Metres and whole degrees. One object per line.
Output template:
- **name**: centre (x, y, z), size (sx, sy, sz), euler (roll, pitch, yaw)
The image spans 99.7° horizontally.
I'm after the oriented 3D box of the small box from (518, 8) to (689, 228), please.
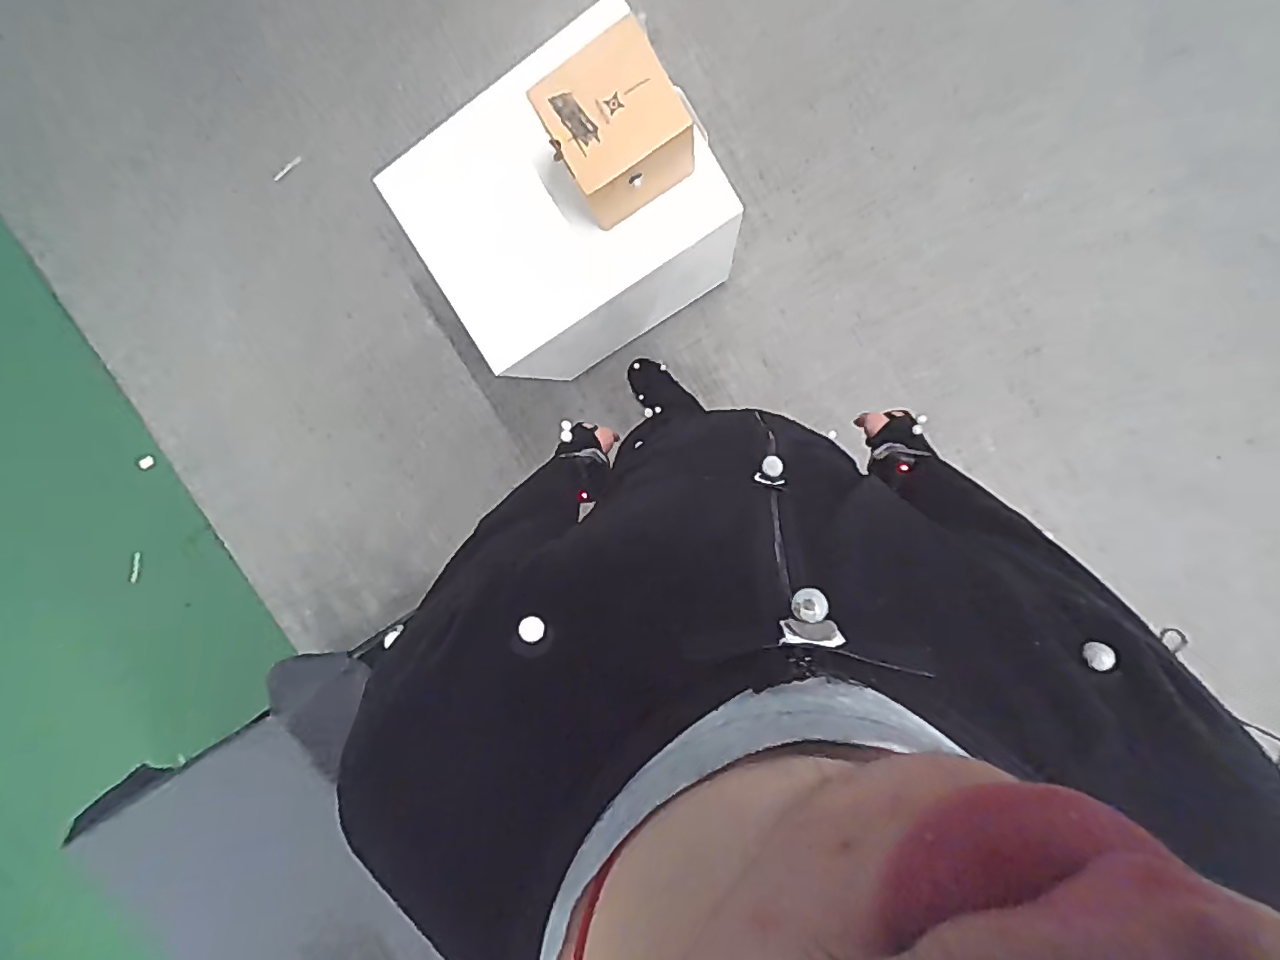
- **small box**: centre (-0.042, -0.503, 0.785), size (0.179, 0.176, 0.168), euler (-31, 96, 7)
